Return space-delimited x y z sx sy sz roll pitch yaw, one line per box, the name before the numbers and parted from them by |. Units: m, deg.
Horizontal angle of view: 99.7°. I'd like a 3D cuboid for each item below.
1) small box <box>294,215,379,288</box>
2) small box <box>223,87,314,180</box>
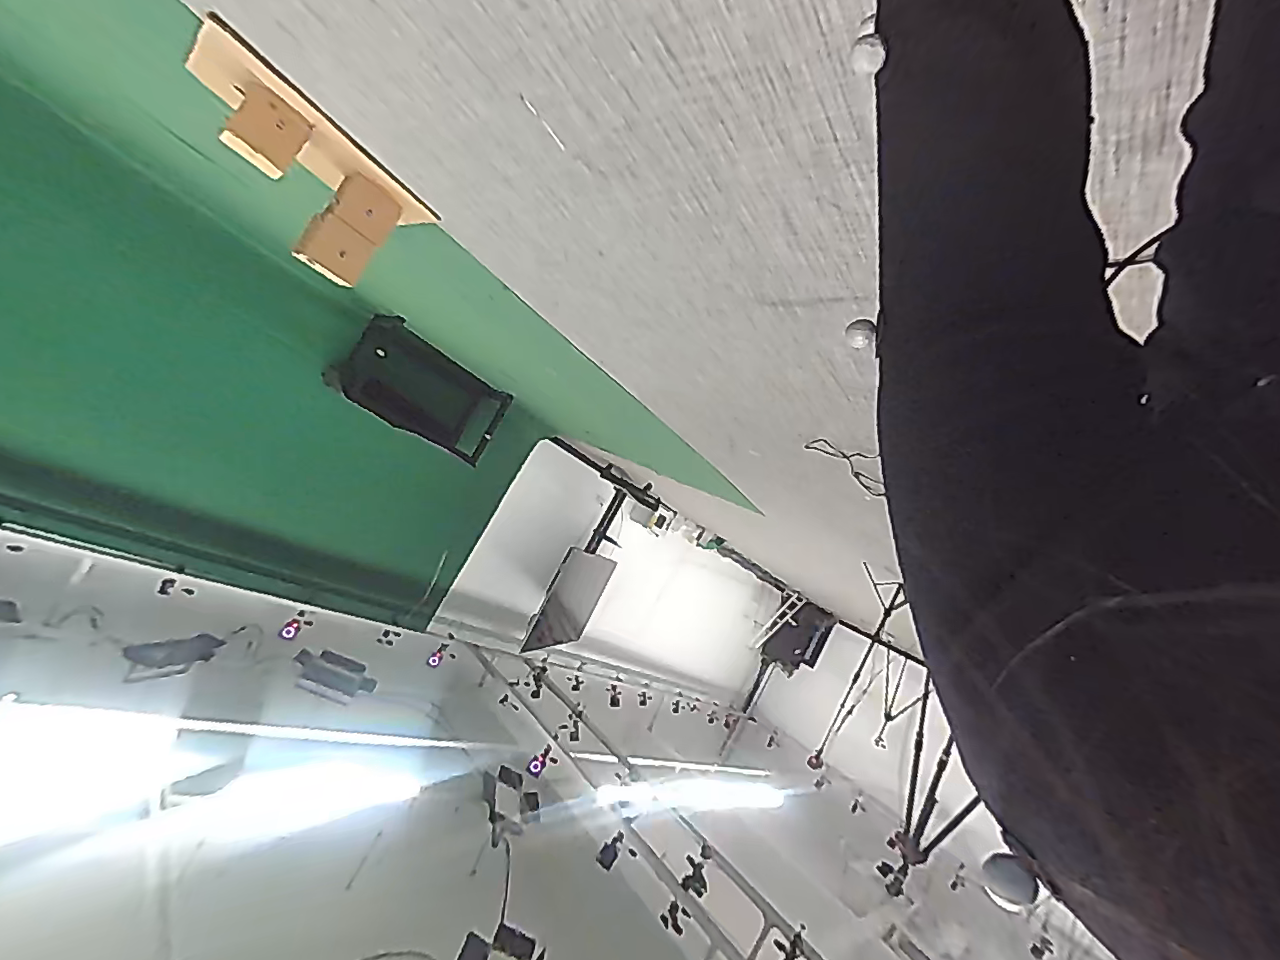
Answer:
small box | -1.058 -0.802 1.890 0.168 0.176 0.179 24 174 41
small box | -1.151 -1.072 1.680 0.179 0.176 0.168 22 171 45
